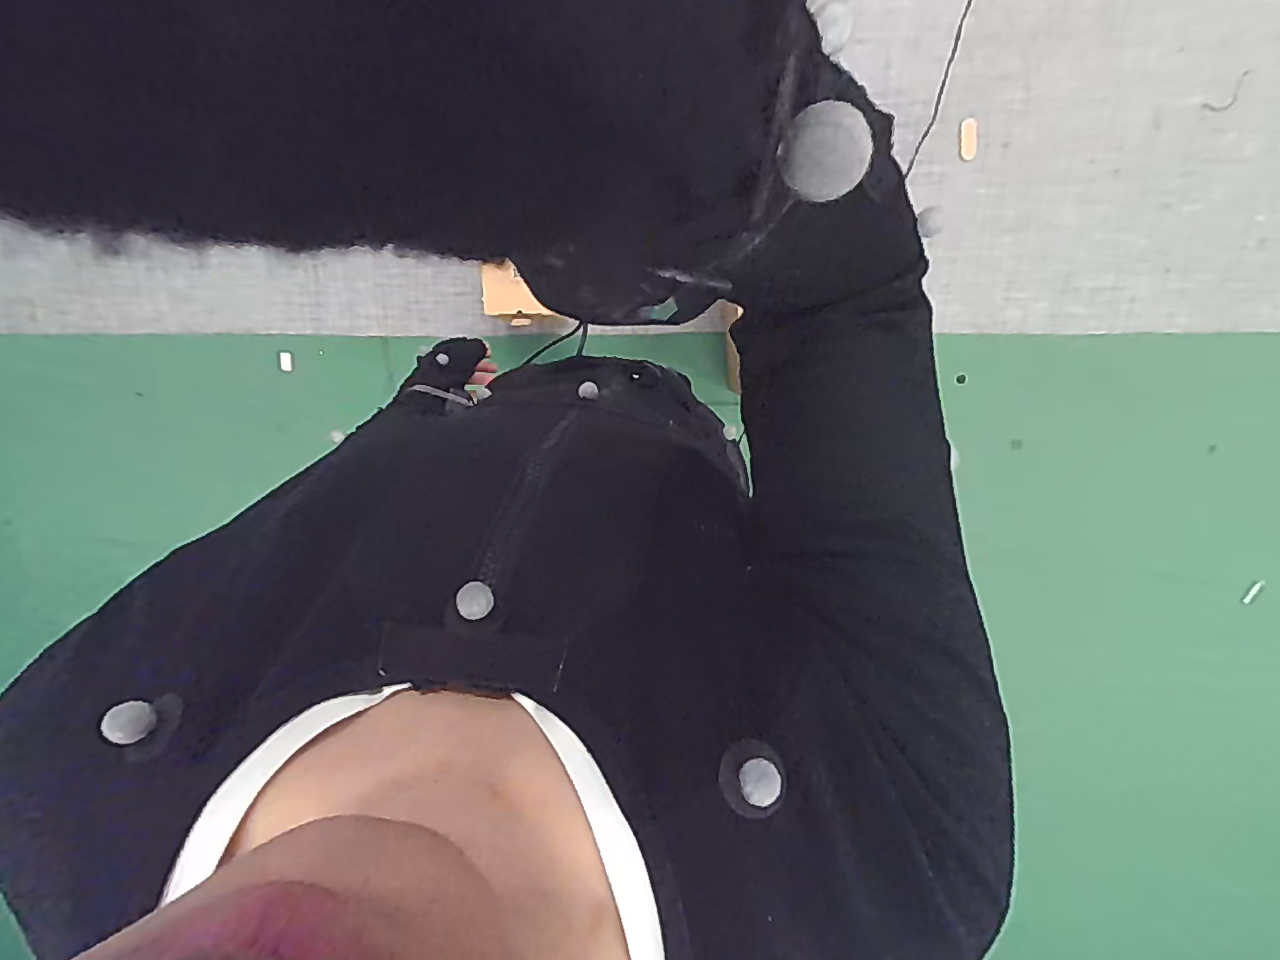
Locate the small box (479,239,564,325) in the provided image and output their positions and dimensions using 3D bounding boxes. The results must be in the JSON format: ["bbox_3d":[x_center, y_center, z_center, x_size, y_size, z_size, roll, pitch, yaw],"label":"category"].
[{"bbox_3d":[-0.281,-0.474,1.314,0.168,0.176,0.179,-1,103,2],"label":"small box"}]
